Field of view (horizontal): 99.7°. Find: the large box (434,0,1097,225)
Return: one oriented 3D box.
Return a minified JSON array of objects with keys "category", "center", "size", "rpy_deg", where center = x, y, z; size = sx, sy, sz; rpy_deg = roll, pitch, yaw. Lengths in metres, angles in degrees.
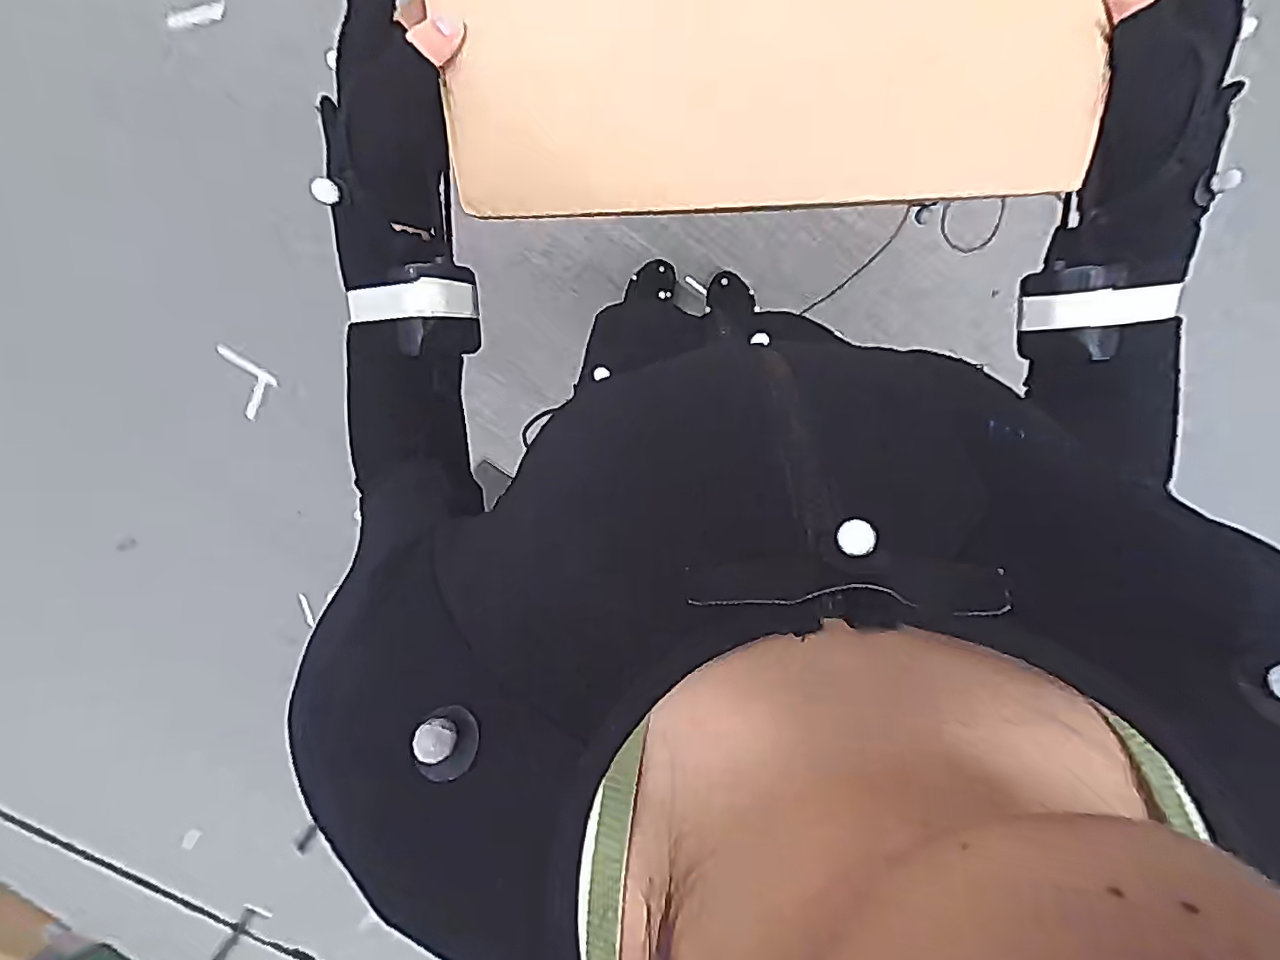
[{"category":"large box","center":[0.077,-0.395,0.437],"size":[0.408,0.320,0.320],"rpy_deg":[-2,116,4]}]
